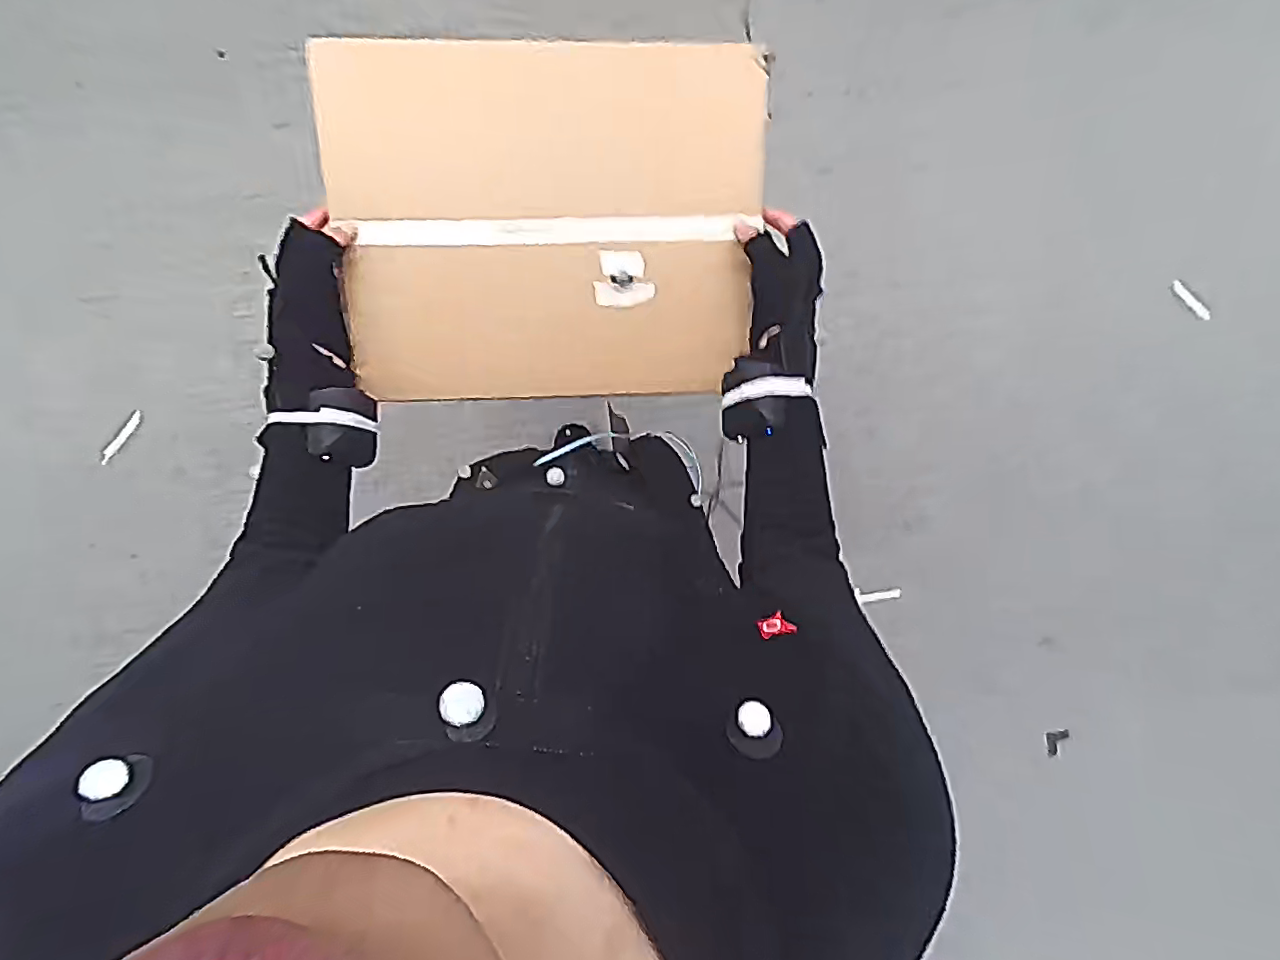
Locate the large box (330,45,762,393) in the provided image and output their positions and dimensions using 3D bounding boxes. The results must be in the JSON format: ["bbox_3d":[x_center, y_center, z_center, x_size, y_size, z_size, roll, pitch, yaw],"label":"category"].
[{"bbox_3d":[-0.092,-0.280,0.674,0.408,0.320,0.320,-1,104,-4],"label":"large box"}]
